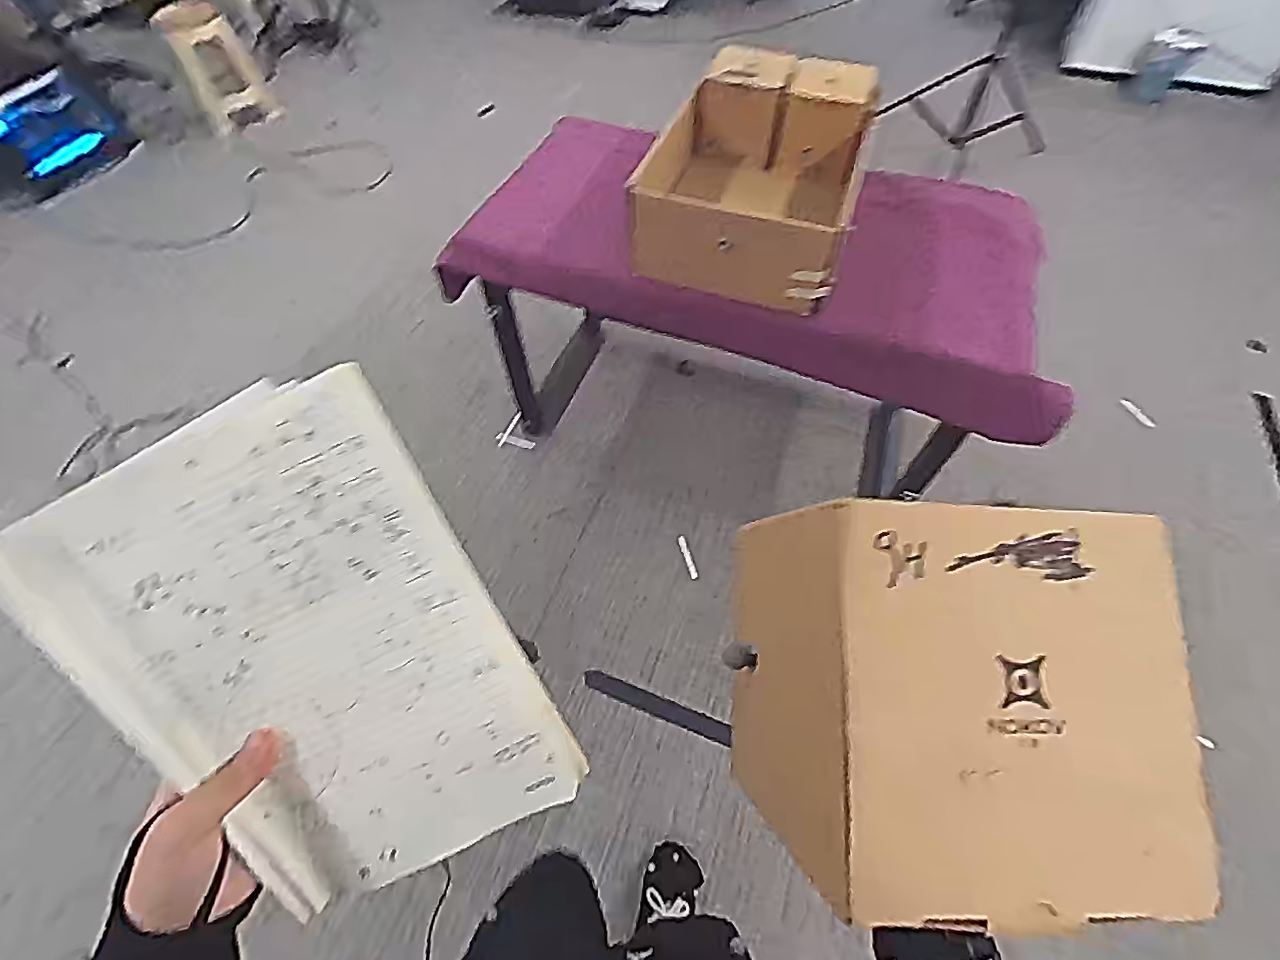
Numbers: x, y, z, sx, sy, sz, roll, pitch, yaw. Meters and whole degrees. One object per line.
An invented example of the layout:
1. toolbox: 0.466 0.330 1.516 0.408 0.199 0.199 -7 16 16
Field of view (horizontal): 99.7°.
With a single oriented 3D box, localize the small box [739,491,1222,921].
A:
1. small box: 0.162 0.107 0.315 0.168 0.176 0.179 4 80 -7
